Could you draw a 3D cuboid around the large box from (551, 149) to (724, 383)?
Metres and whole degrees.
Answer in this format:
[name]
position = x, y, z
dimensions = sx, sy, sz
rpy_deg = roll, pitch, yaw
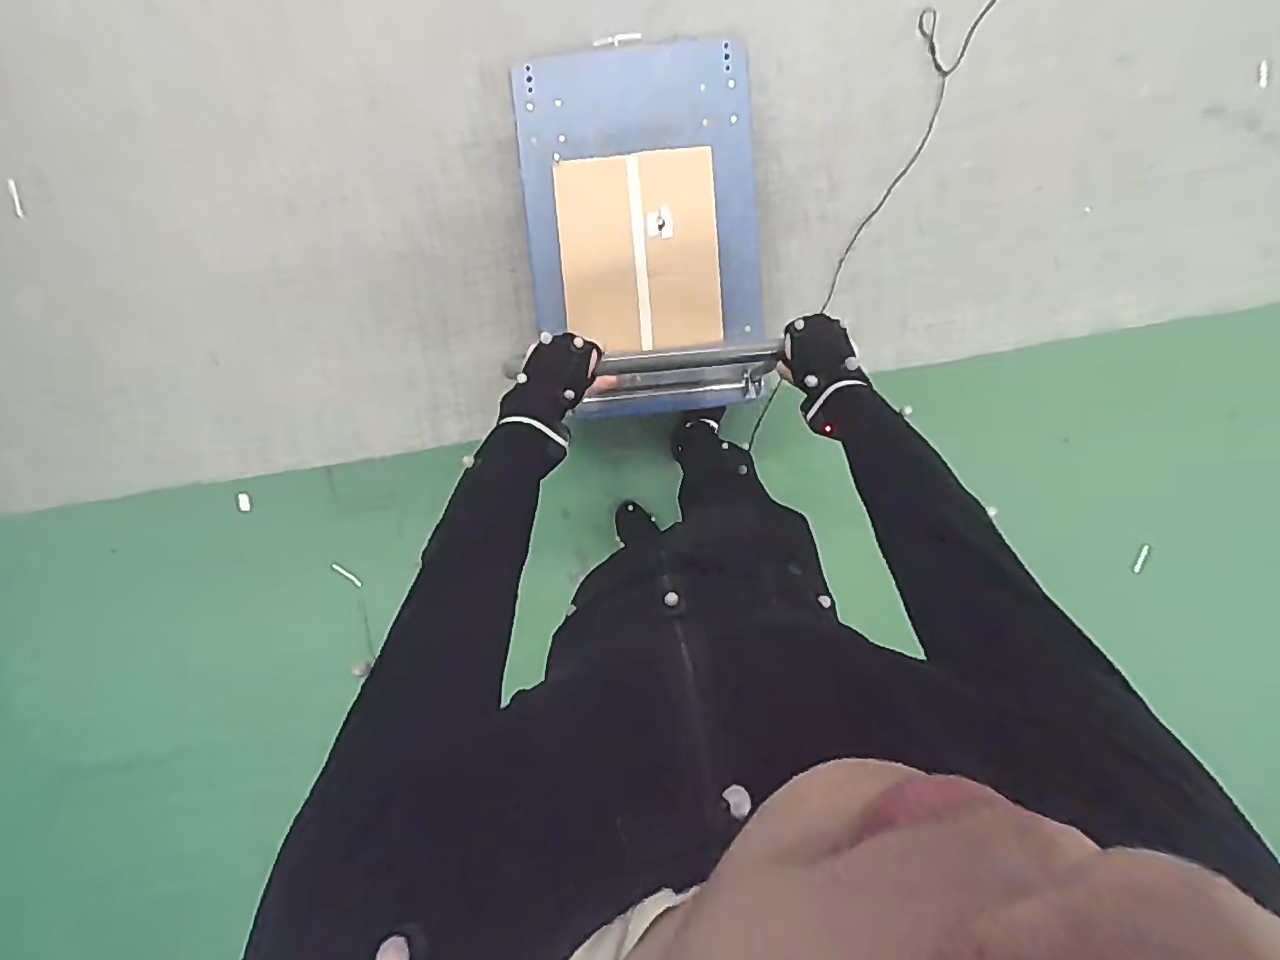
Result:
[large box]
position = -0.001, -0.448, 1.223
dimensions = 0.320, 0.320, 0.408
rpy_deg = -5, 95, 0
